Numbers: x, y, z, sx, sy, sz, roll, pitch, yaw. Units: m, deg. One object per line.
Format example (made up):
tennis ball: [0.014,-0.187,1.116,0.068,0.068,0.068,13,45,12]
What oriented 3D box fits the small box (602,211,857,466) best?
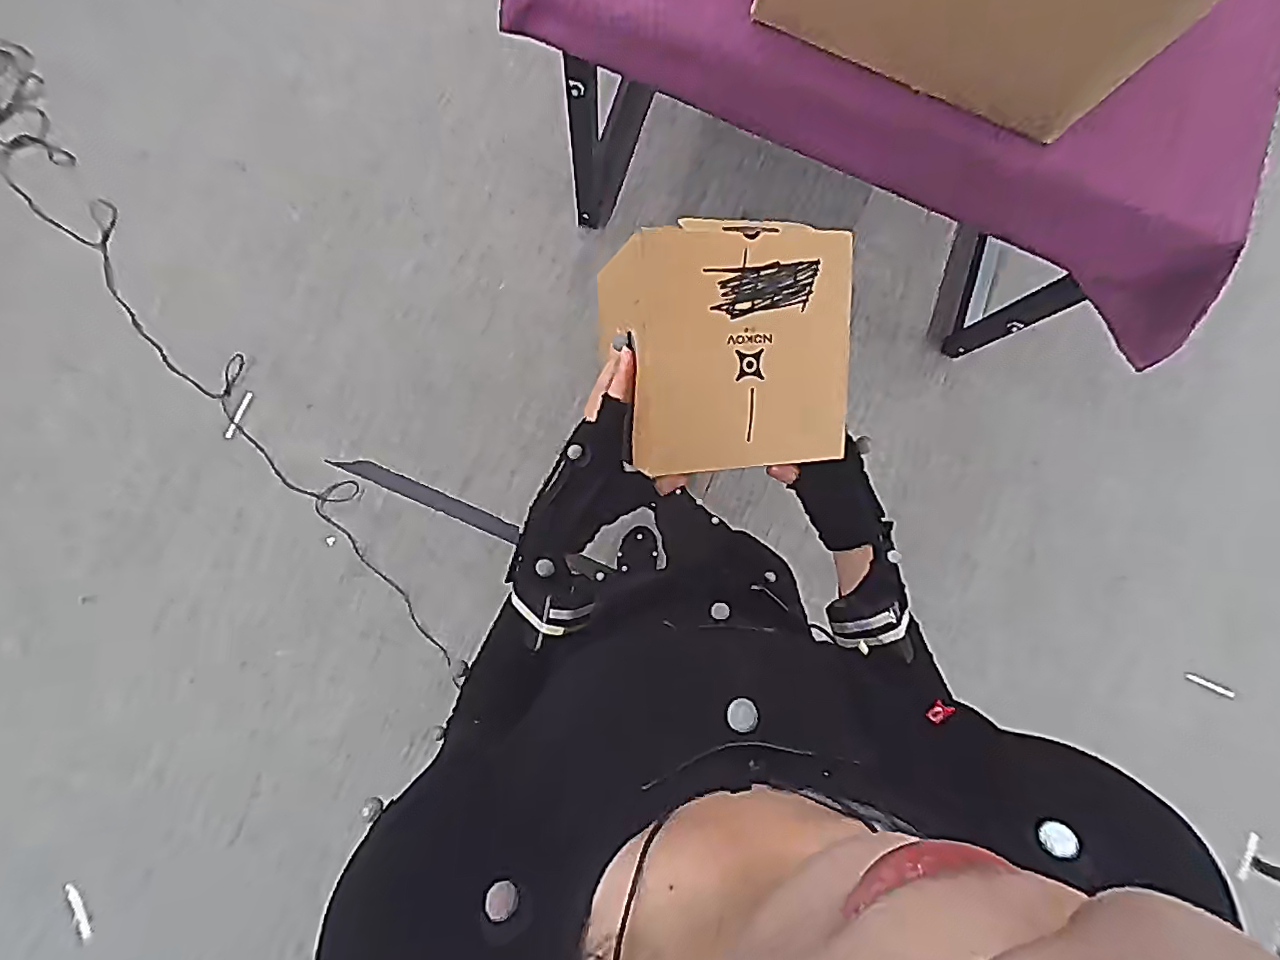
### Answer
small box: [0.065,-0.114,0.470,0.168,0.176,0.179,-6,101,-13]
